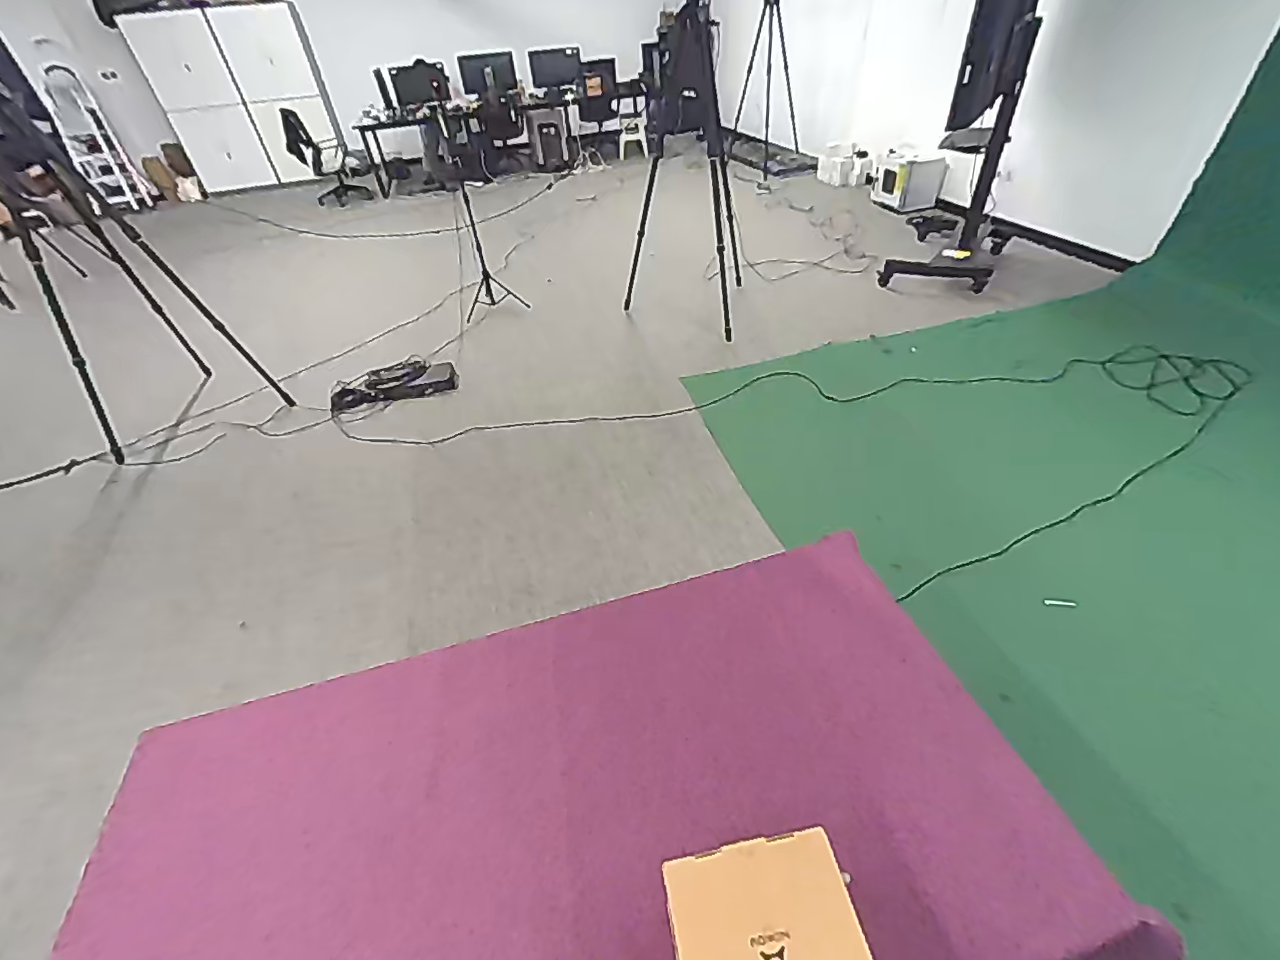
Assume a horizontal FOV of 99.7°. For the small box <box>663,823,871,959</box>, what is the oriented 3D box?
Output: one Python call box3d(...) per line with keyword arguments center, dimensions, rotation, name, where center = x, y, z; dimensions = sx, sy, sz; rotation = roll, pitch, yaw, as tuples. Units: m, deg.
box3d(center=(0.123, 0.471, 0.523), dimensions=(0.168, 0.176, 0.179), rotation=(-10, 40, -4), name="small box")
